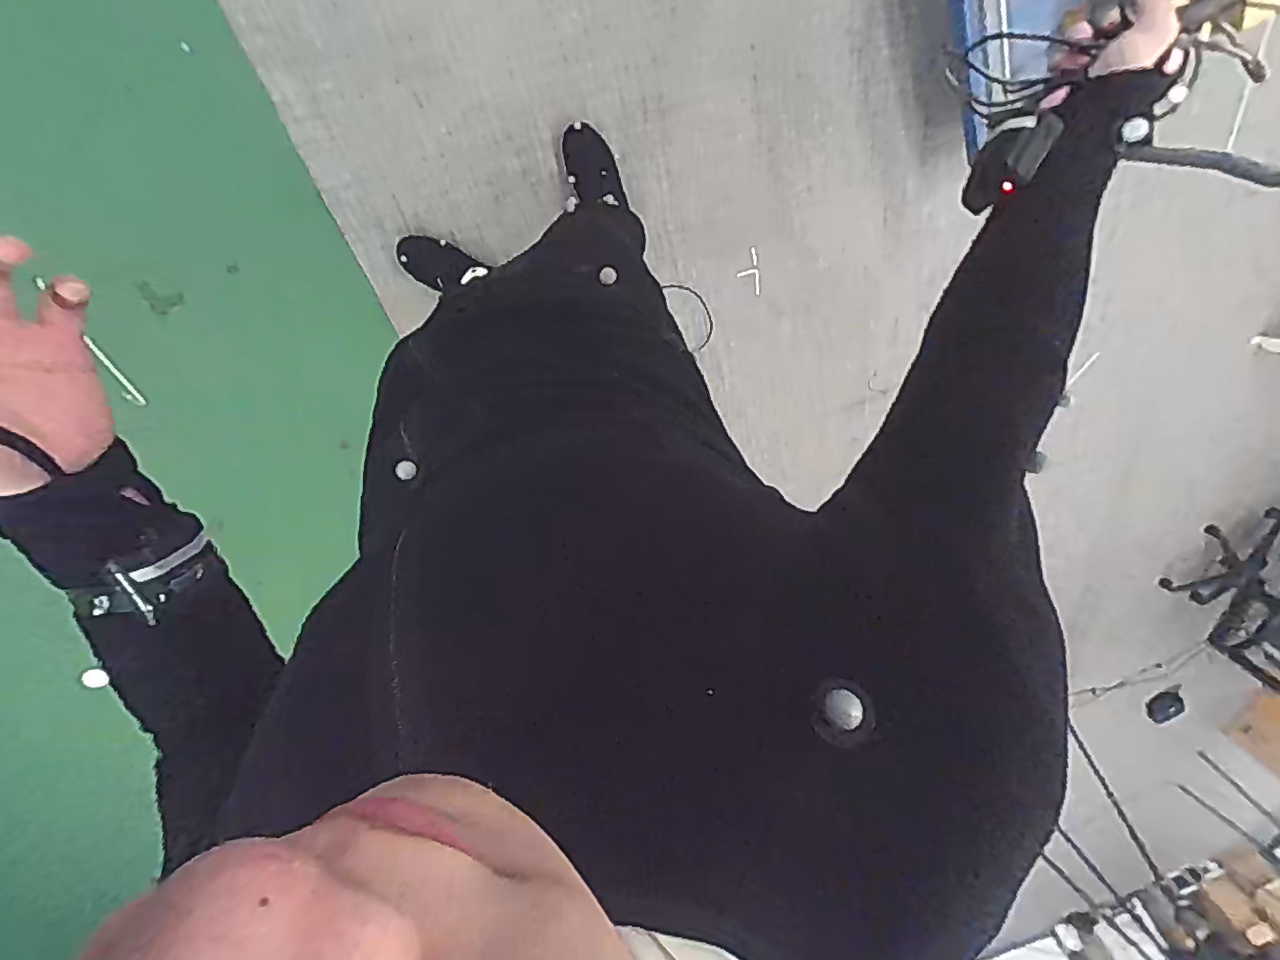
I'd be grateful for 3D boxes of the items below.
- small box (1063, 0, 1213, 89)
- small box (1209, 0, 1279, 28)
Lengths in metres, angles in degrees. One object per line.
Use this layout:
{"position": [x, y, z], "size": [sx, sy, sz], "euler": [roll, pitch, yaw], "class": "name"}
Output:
{"position": [1.056, -0.969, 1.153], "size": [0.179, 0.176, 0.168], "euler": [-28, 125, 6], "class": "small box"}
{"position": [1.270, -1.084, 1.127], "size": [0.179, 0.176, 0.168], "euler": [-30, 124, 8], "class": "small box"}
